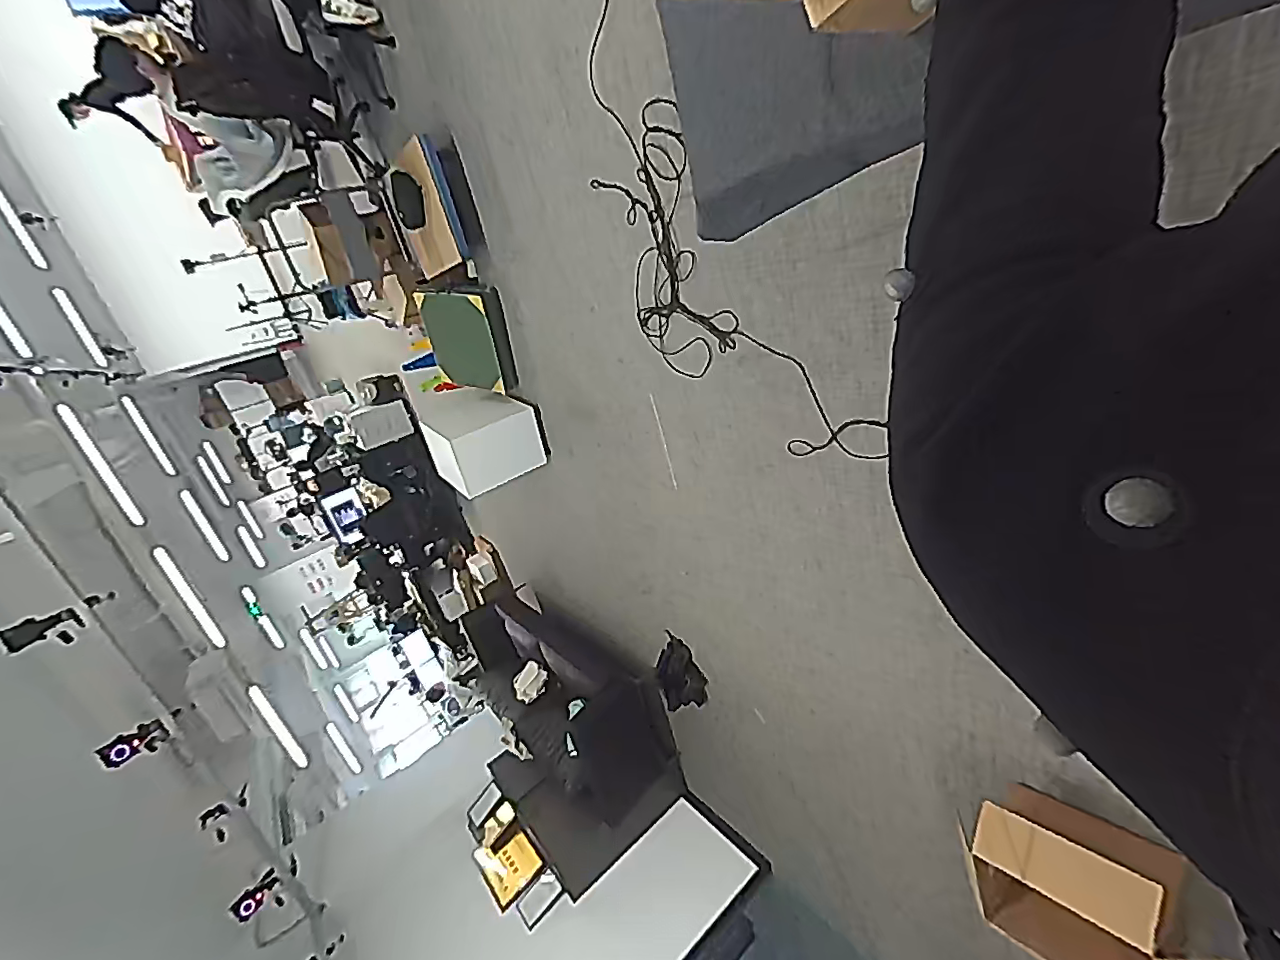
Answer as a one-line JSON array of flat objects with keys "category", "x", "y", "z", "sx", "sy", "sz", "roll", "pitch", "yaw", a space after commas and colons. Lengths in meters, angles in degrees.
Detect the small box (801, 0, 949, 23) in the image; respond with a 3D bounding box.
[{"category": "small box", "x": 0.221, "y": -0.495, "z": 0.413, "sx": 0.168, "sy": 0.176, "sz": 0.179, "roll": 0, "pitch": 115, "yaw": 57}]
